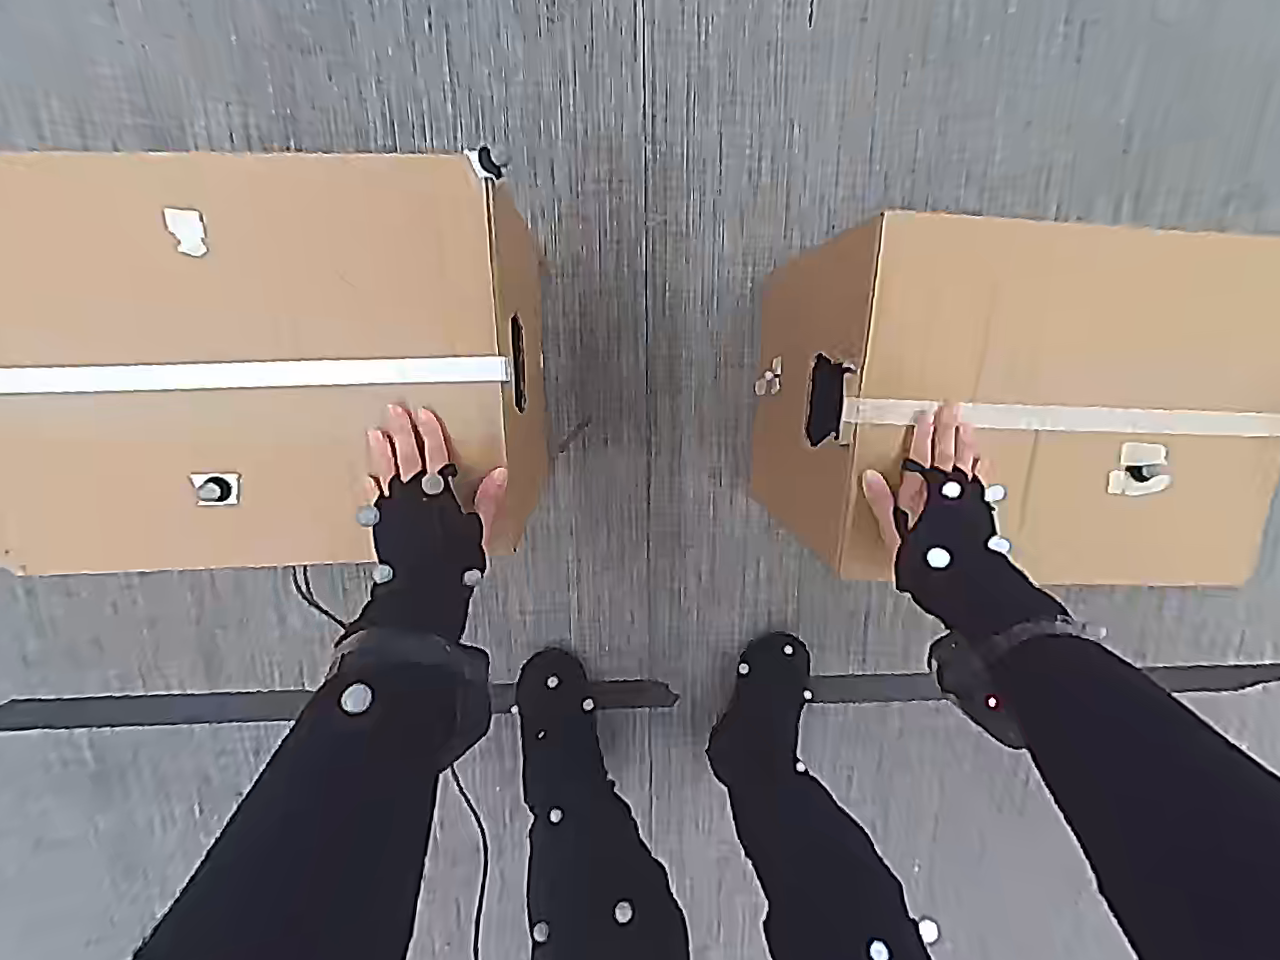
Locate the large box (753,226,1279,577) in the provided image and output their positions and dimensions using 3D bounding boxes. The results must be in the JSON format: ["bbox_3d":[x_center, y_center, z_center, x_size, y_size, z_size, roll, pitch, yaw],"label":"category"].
[{"bbox_3d":[0.375,-0.086,0.638,0.408,0.320,0.320,2,102,-5],"label":"large box"}]
